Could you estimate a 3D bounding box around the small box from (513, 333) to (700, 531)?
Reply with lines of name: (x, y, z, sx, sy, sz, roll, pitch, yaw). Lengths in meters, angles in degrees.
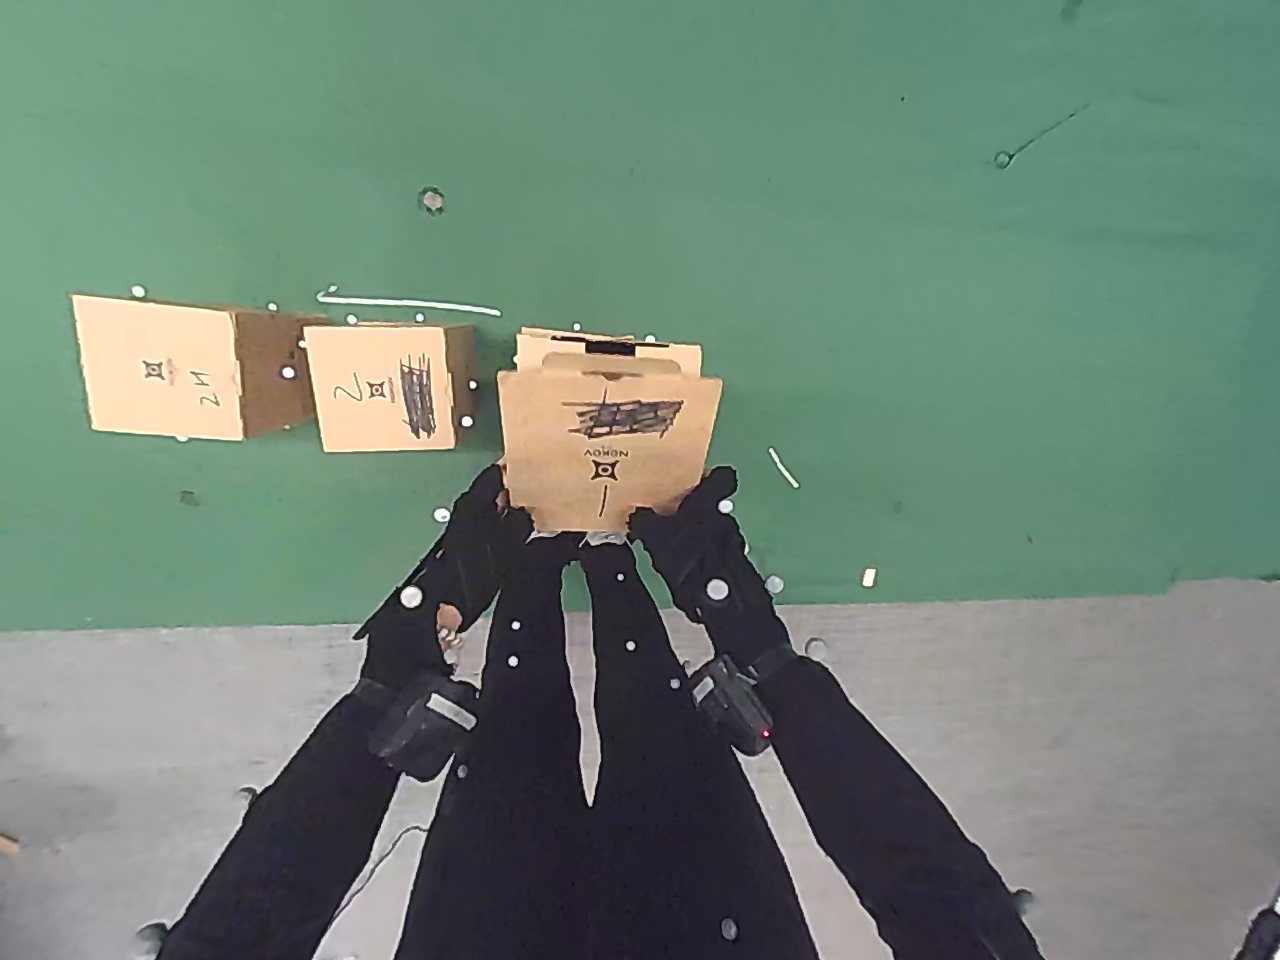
small box: (-0.040, -0.054, 0.575, 0.168, 0.176, 0.179, 3, 100, -6)

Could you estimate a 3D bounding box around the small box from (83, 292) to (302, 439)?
small box: (-0.605, -0.160, 0.756, 0.179, 0.176, 0.168, 5, 105, -10)

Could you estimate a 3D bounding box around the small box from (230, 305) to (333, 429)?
small box: (-0.639, -0.195, 0.915, 0.168, 0.176, 0.179, 6, 104, -10)

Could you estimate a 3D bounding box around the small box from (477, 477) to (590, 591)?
small box: (-0.201, 0.086, 1.085, 0.179, 0.176, 0.168, 36, 111, -1)
